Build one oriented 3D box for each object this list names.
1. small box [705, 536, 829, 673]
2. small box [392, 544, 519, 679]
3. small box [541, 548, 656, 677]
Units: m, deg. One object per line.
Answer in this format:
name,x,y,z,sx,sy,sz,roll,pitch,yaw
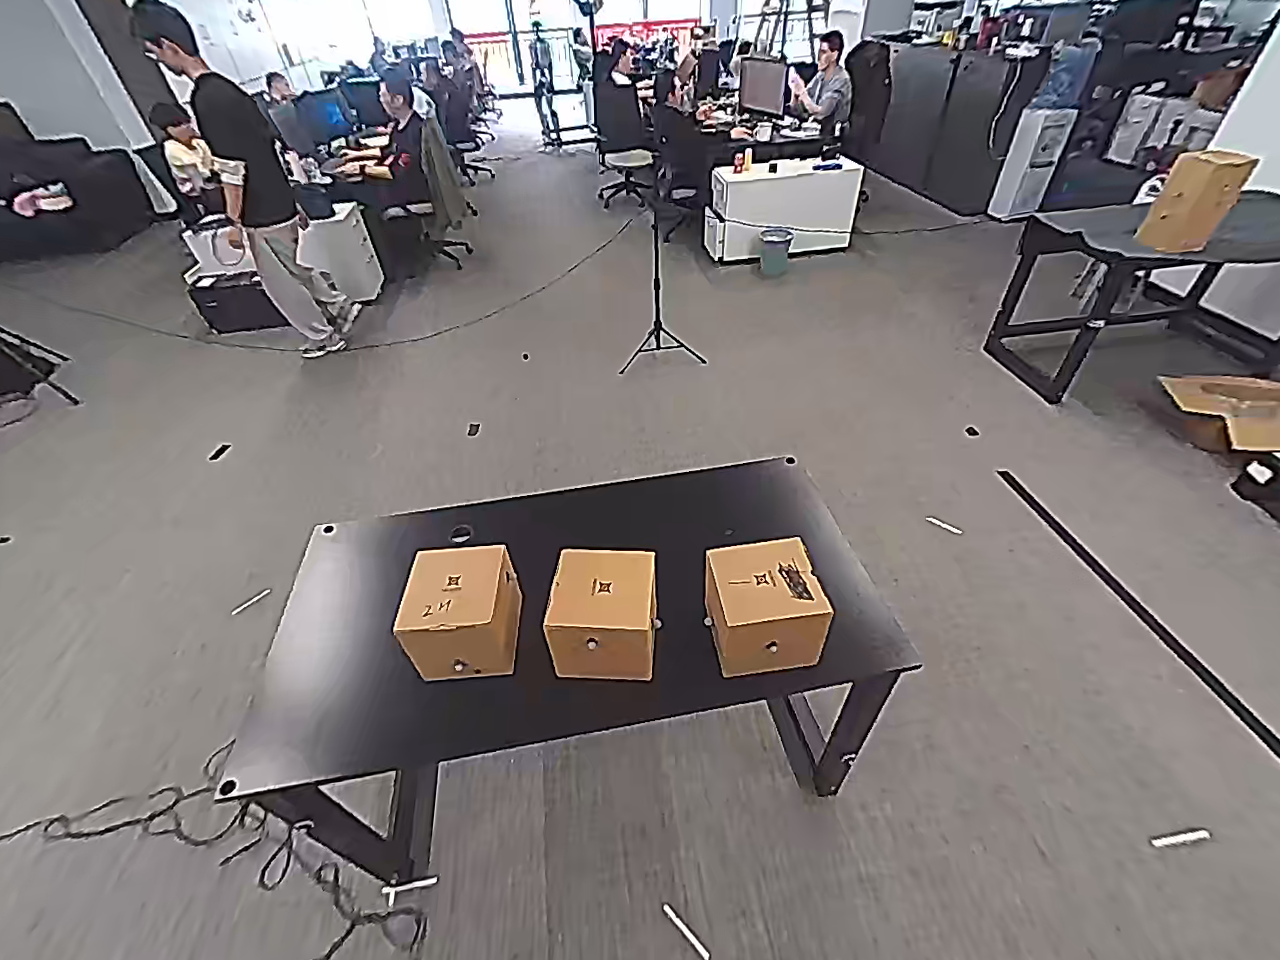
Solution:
small box,0.217,0.225,0.974,0.179,0.176,0.168,-8,42,-2
small box,-0.326,0.242,0.999,0.168,0.176,0.179,-5,42,0
small box,-0.064,0.241,0.981,0.179,0.176,0.168,0,42,6
